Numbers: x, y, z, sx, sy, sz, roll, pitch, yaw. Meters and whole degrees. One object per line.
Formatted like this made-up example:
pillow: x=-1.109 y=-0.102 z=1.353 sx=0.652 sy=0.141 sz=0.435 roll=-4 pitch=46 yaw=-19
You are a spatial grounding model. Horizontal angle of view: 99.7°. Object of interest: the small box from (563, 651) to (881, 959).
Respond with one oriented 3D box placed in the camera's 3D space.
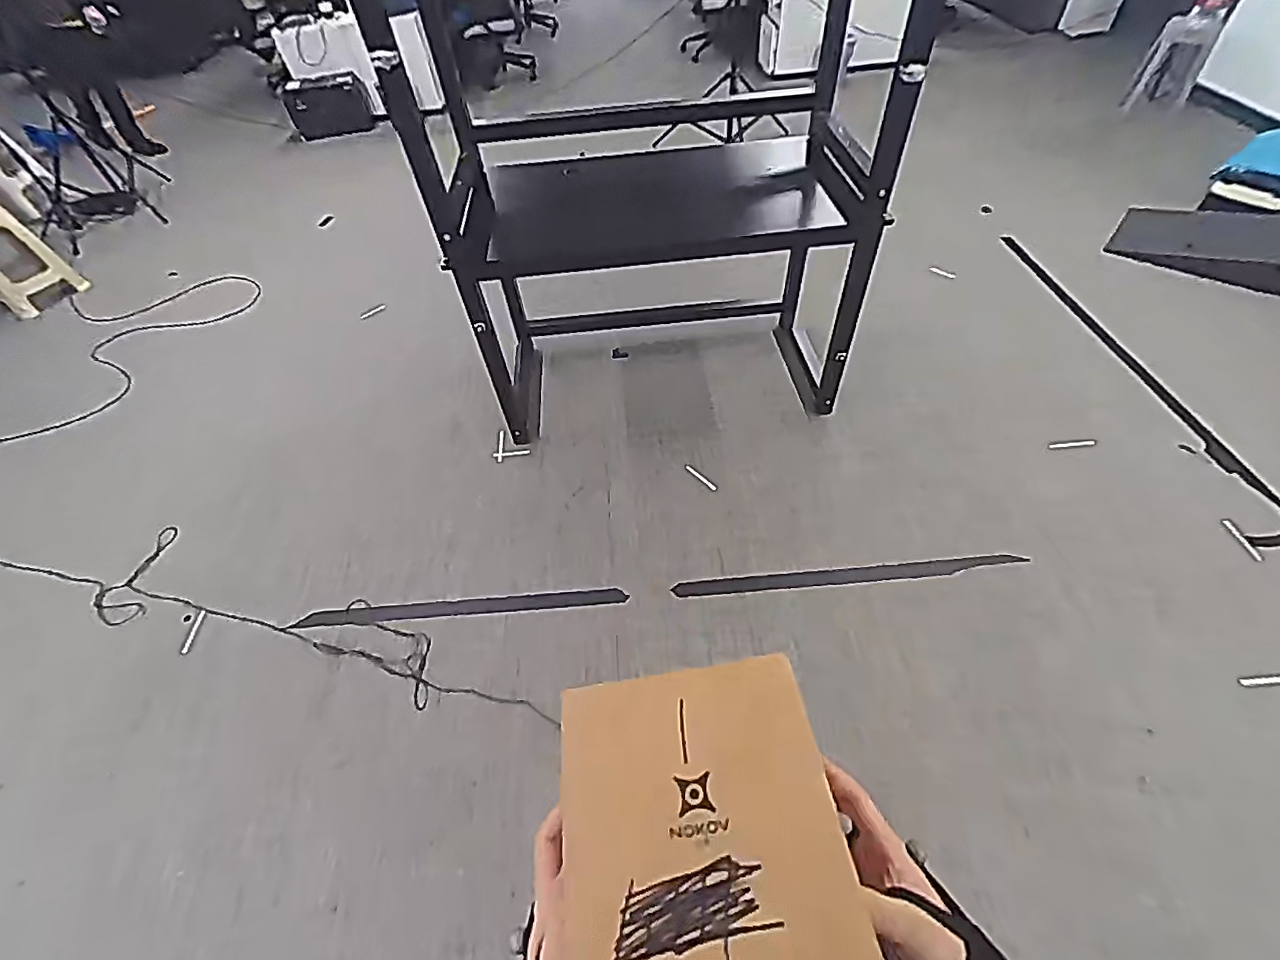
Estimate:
small box: x=0.046 y=0.249 z=0.383 sx=0.168 sy=0.176 sz=0.179 roll=-10 pitch=47 yaw=2
